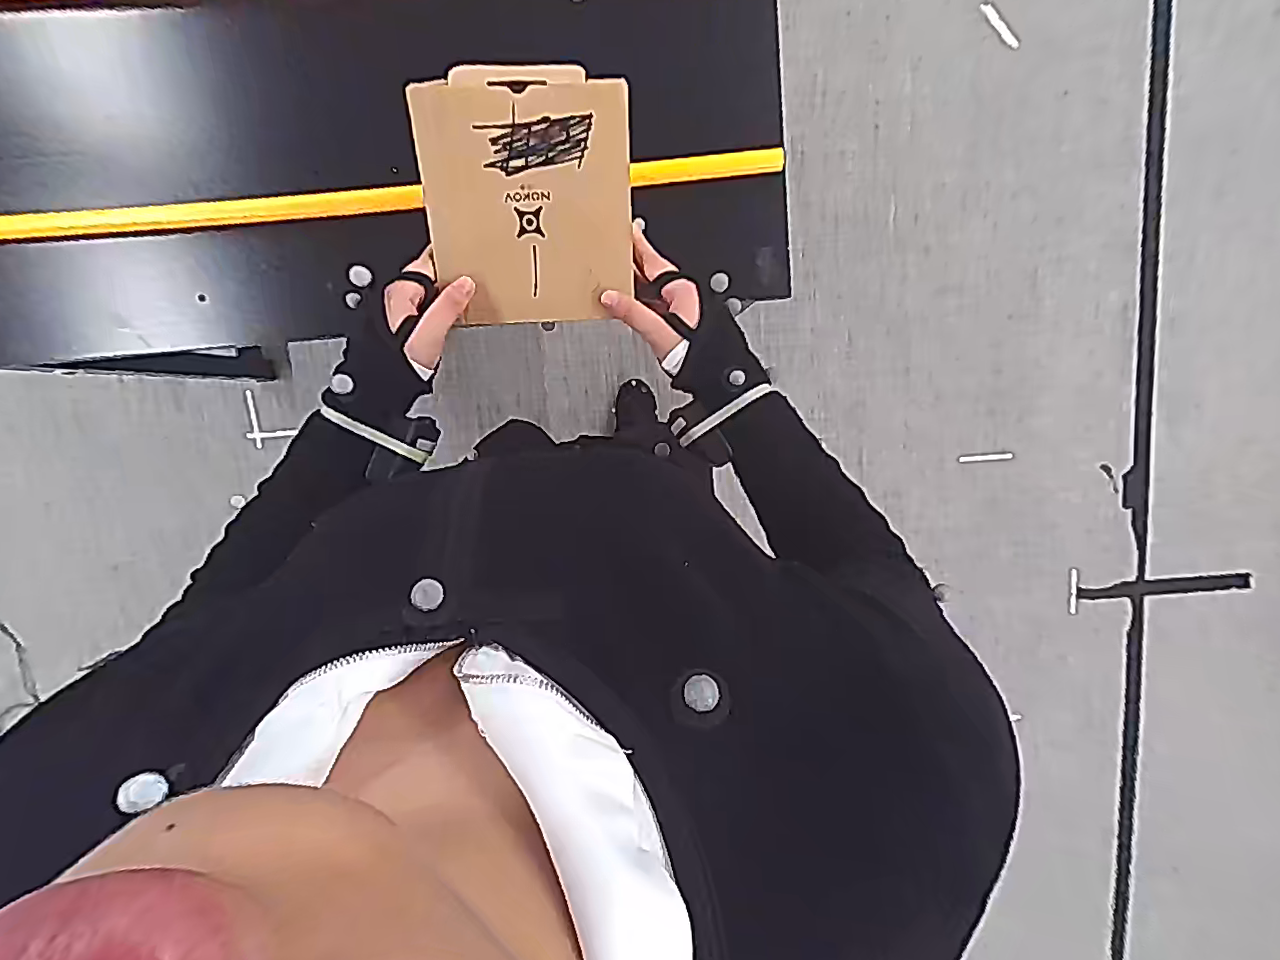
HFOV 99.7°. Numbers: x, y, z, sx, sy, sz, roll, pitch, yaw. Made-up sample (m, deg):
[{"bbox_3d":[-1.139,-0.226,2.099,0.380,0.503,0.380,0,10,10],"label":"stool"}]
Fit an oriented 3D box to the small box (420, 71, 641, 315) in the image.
[{"bbox_3d":[-0.088,-0.252,0.511,0.168,0.176,0.179,-3,111,-2],"label":"small box"}]
